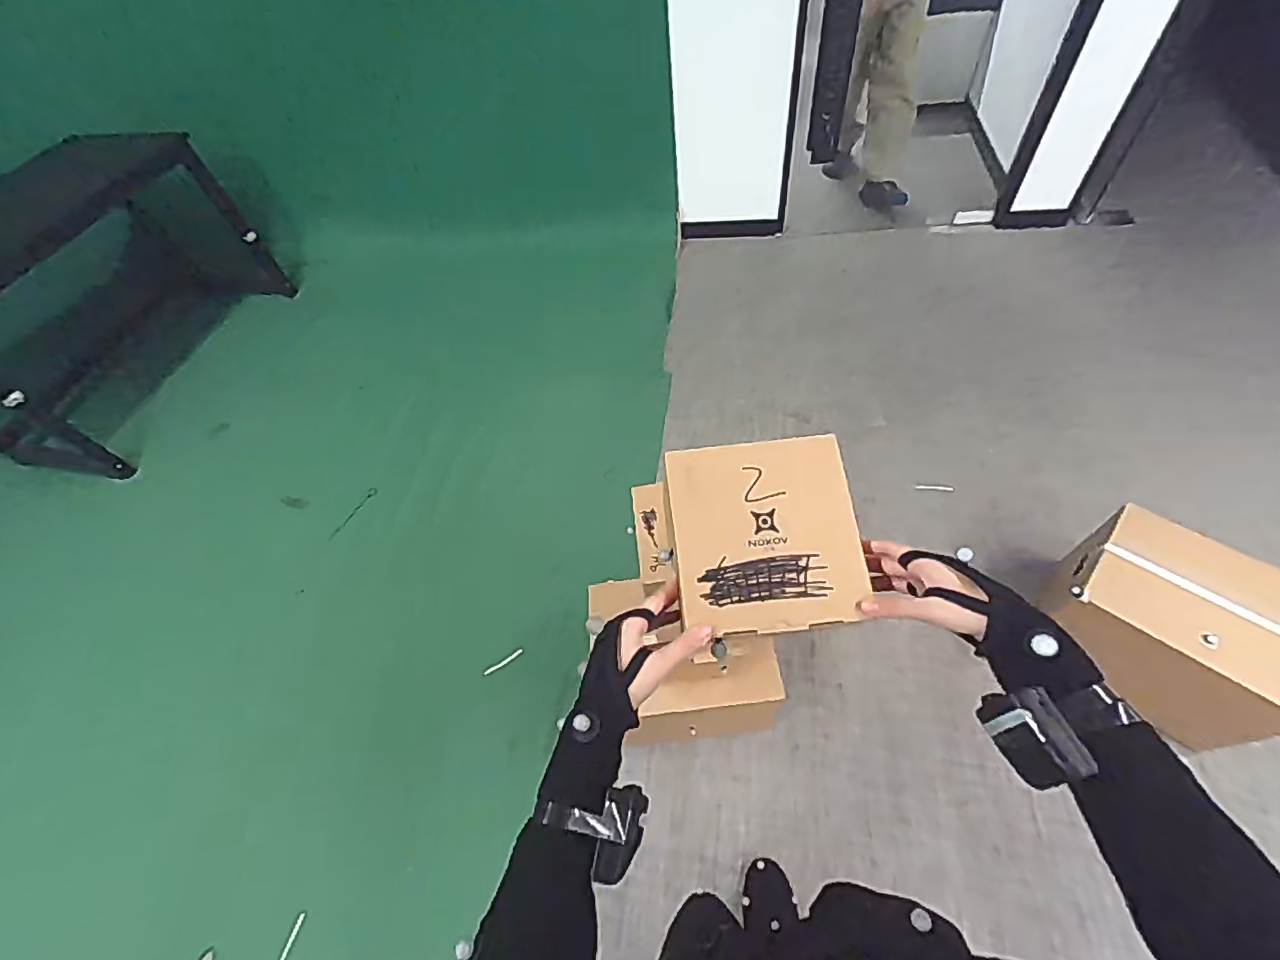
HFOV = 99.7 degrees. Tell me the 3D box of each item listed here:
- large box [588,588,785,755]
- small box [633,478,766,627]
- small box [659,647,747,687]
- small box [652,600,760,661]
[{"bbox_3d":[0.107,0.453,1.314,0.408,0.320,0.320,-9,52,3],"label":"large box"},{"bbox_3d":[0.086,0.118,0.849,0.179,0.176,0.168,-7,53,1],"label":"small box"},{"bbox_3d":[0.123,0.314,1.109,0.168,0.176,0.179,-7,53,2],"label":"small box"},{"bbox_3d":[0.107,0.216,0.980,0.179,0.176,0.168,-9,54,2],"label":"small box"}]
